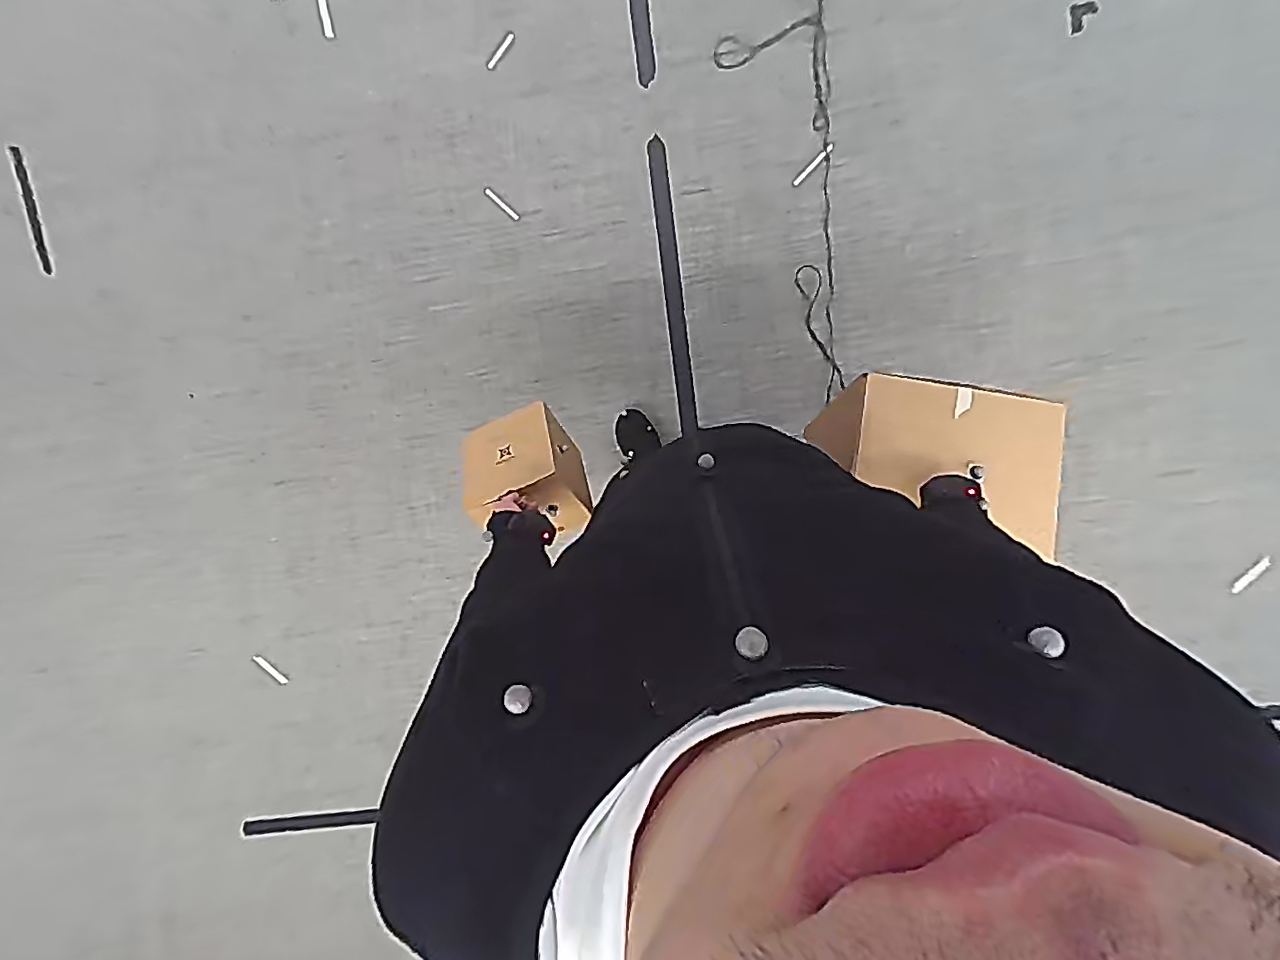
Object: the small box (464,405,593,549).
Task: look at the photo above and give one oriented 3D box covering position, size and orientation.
[{"bbox_3d":[-0.197,0.005,0.974,0.168,0.176,0.179,-22,51,6],"label":"small box"}]
